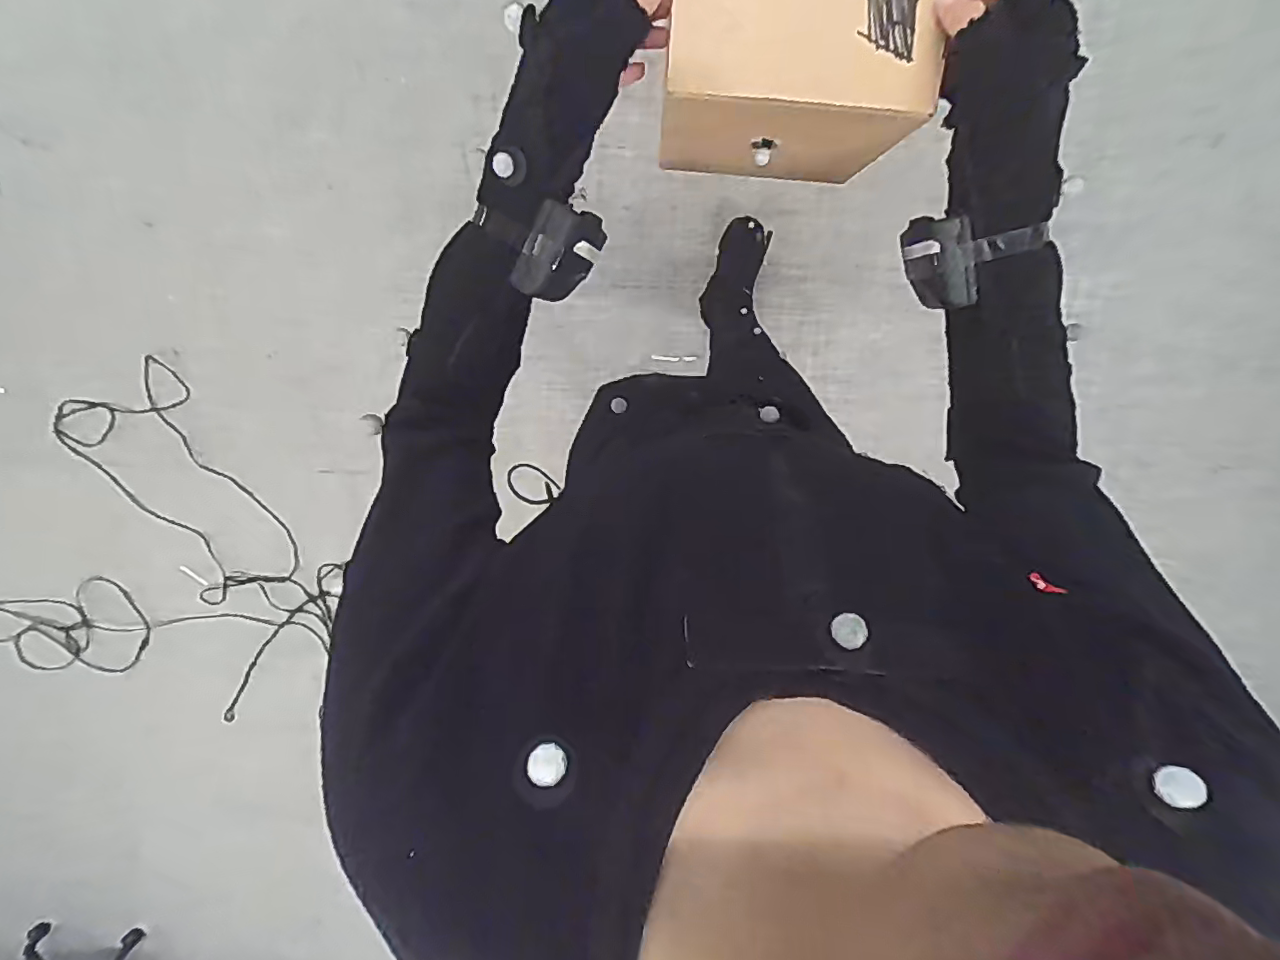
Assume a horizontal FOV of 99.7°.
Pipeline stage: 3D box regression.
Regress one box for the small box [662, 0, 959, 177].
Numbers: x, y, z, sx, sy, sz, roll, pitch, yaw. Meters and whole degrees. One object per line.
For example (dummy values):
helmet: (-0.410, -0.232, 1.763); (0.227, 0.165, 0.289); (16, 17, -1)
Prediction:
small box: (0.112, -0.340, 0.401); (0.179, 0.176, 0.168); (4, 105, 0)
